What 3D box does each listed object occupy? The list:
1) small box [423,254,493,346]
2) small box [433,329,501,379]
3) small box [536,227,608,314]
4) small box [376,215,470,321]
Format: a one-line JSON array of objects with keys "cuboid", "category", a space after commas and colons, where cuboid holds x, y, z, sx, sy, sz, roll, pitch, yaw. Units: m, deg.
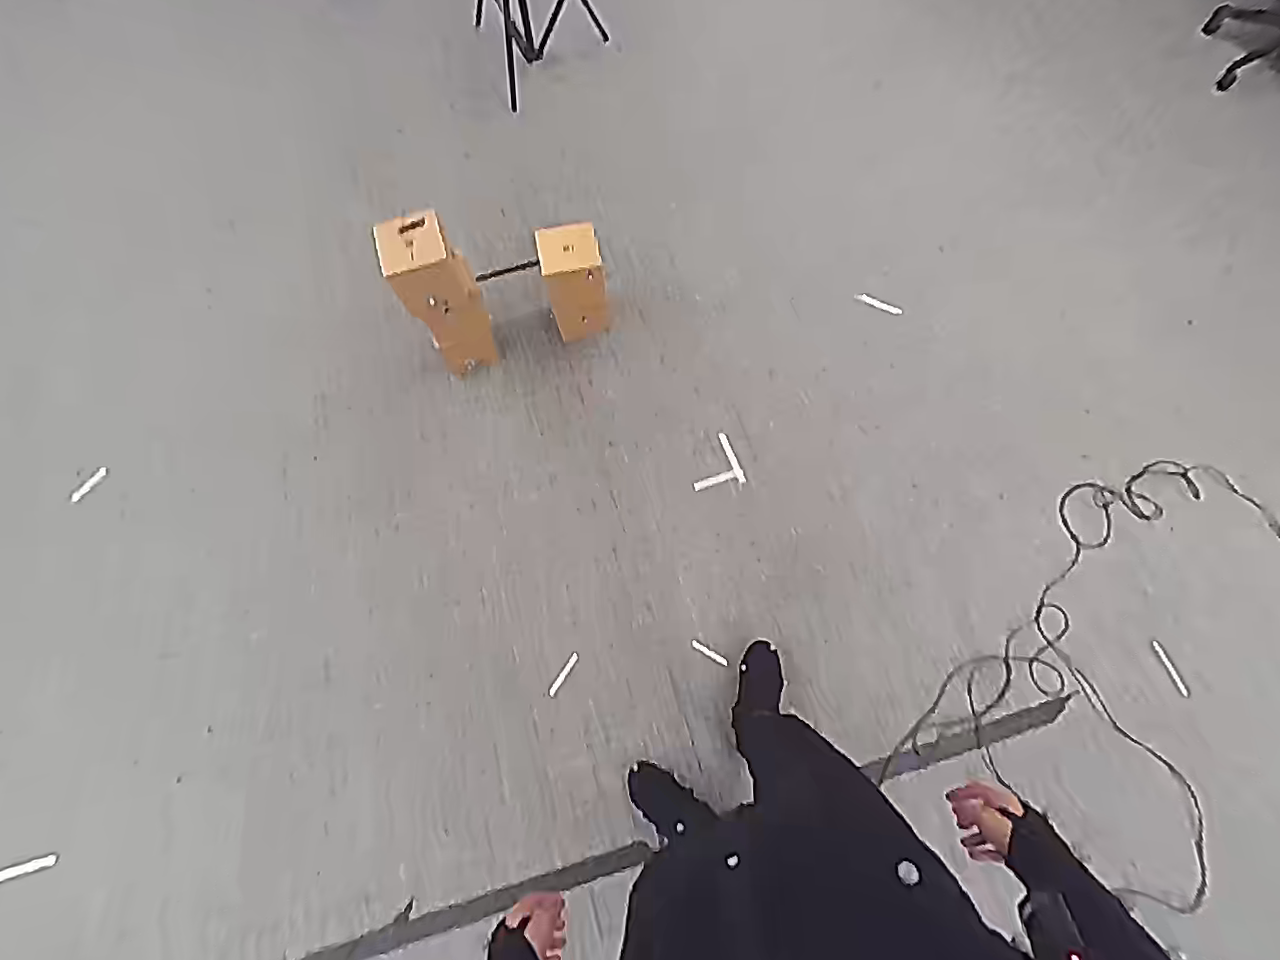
[{"cuboid": [-0.561, -0.526, 1.603, 0.179, 0.176, 0.168, -22, 70, -6], "category": "small box"}, {"cuboid": [-0.567, -0.460, 1.753, 0.168, 0.176, 0.179, -20, 70, -6], "category": "small box"}, {"cuboid": [-0.202, -0.626, 1.634, 0.179, 0.176, 0.168, -12, 69, -4], "category": "small box"}, {"cuboid": [-0.572, -0.559, 1.440, 0.168, 0.176, 0.179, -18, 70, -4], "category": "small box"}]
